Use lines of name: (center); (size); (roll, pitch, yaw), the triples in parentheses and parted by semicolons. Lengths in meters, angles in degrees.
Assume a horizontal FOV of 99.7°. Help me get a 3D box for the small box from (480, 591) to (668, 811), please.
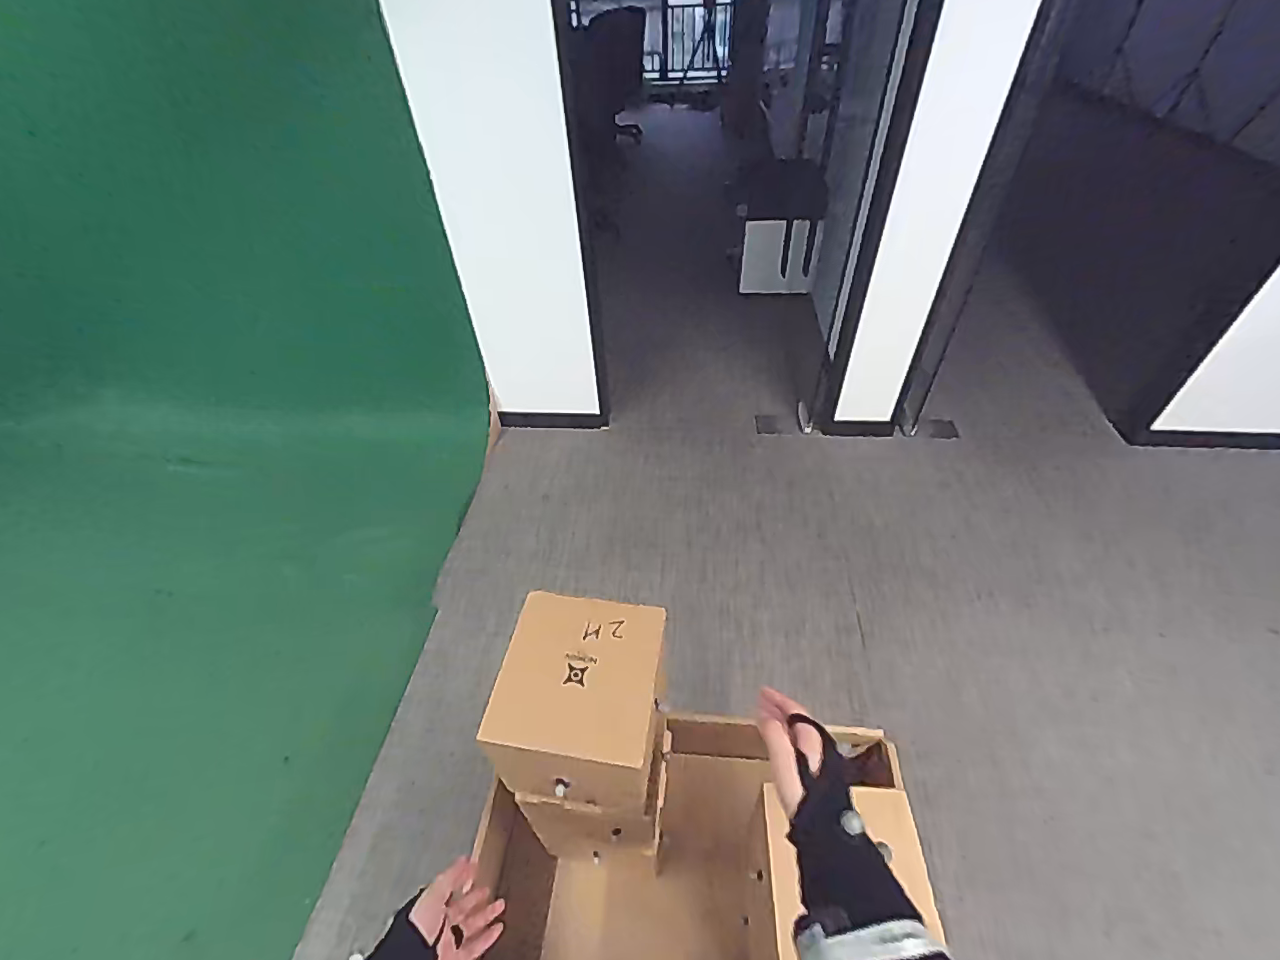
small box: (-0.062, 0.259, 0.631); (0.168, 0.176, 0.179); (8, 46, 7)

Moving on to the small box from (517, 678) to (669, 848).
small box: (-0.052, 0.379, 0.742); (0.168, 0.176, 0.179); (6, 45, 7)

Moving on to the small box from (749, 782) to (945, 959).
small box: (0.222, 0.475, 0.628); (0.168, 0.176, 0.179); (1, 45, 4)
